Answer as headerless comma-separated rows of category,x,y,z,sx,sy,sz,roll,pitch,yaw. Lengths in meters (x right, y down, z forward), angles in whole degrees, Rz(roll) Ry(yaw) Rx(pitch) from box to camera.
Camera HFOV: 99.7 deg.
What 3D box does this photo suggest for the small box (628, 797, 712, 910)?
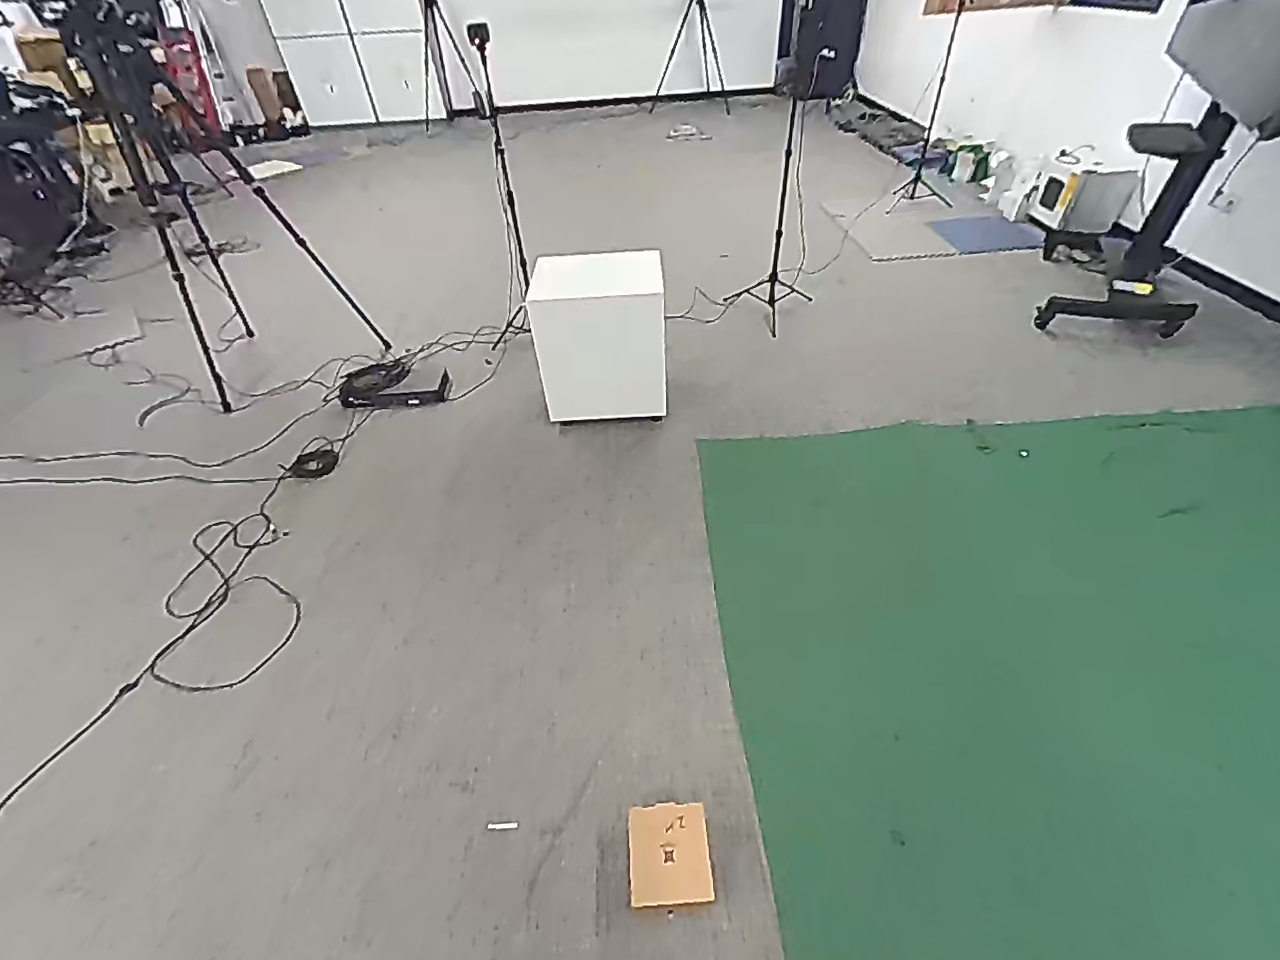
small box,0.062,0.810,1.167,0.168,0.176,0.179,-3,45,-1
